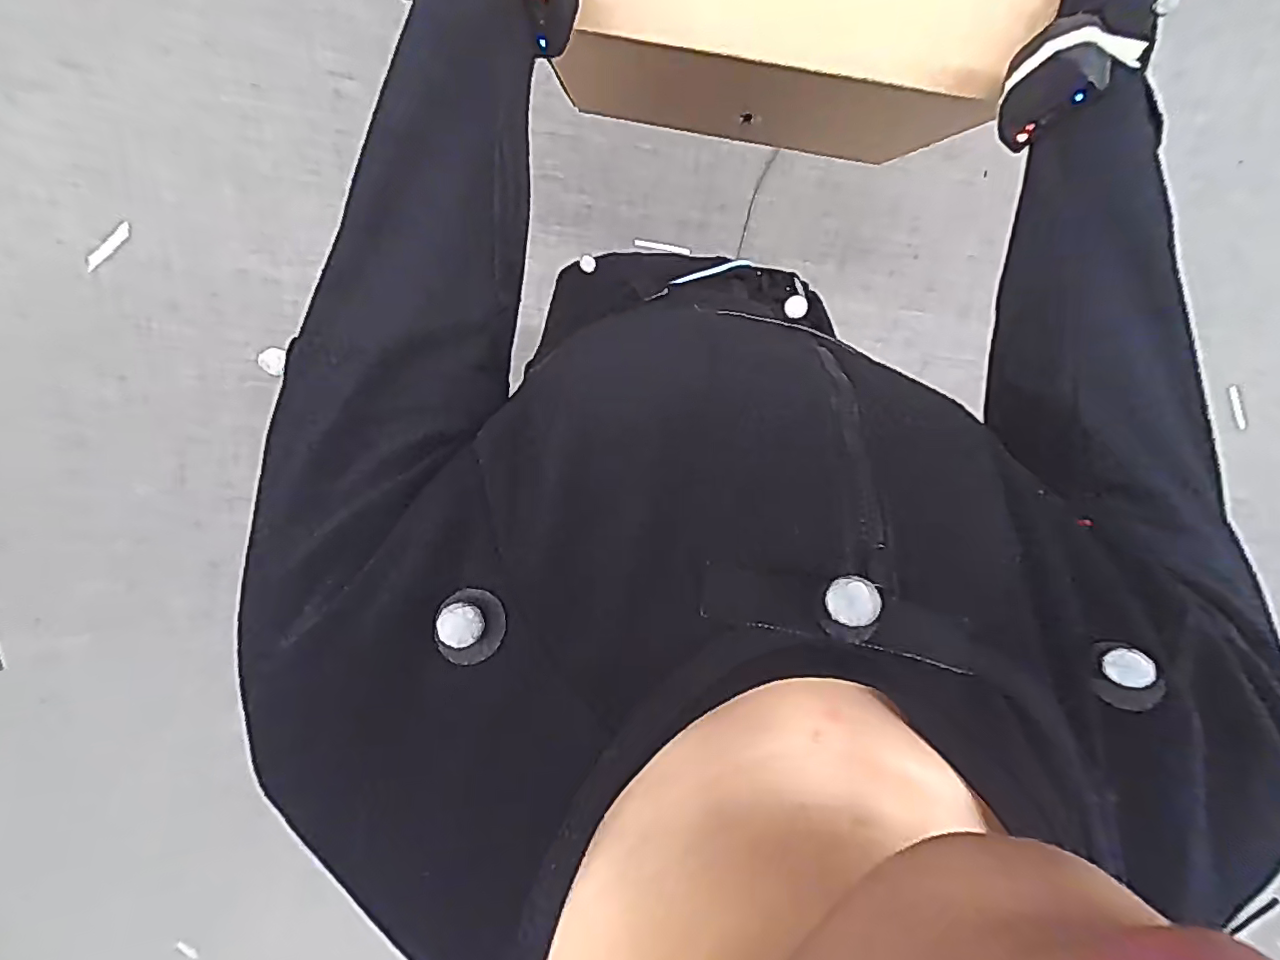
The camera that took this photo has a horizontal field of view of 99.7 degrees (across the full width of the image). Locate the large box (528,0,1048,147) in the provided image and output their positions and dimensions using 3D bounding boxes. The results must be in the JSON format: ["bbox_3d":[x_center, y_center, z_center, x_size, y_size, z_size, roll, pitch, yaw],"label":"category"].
[{"bbox_3d":[0.136,-0.537,0.505,0.408,0.320,0.320,9,112,-2],"label":"large box"}]
